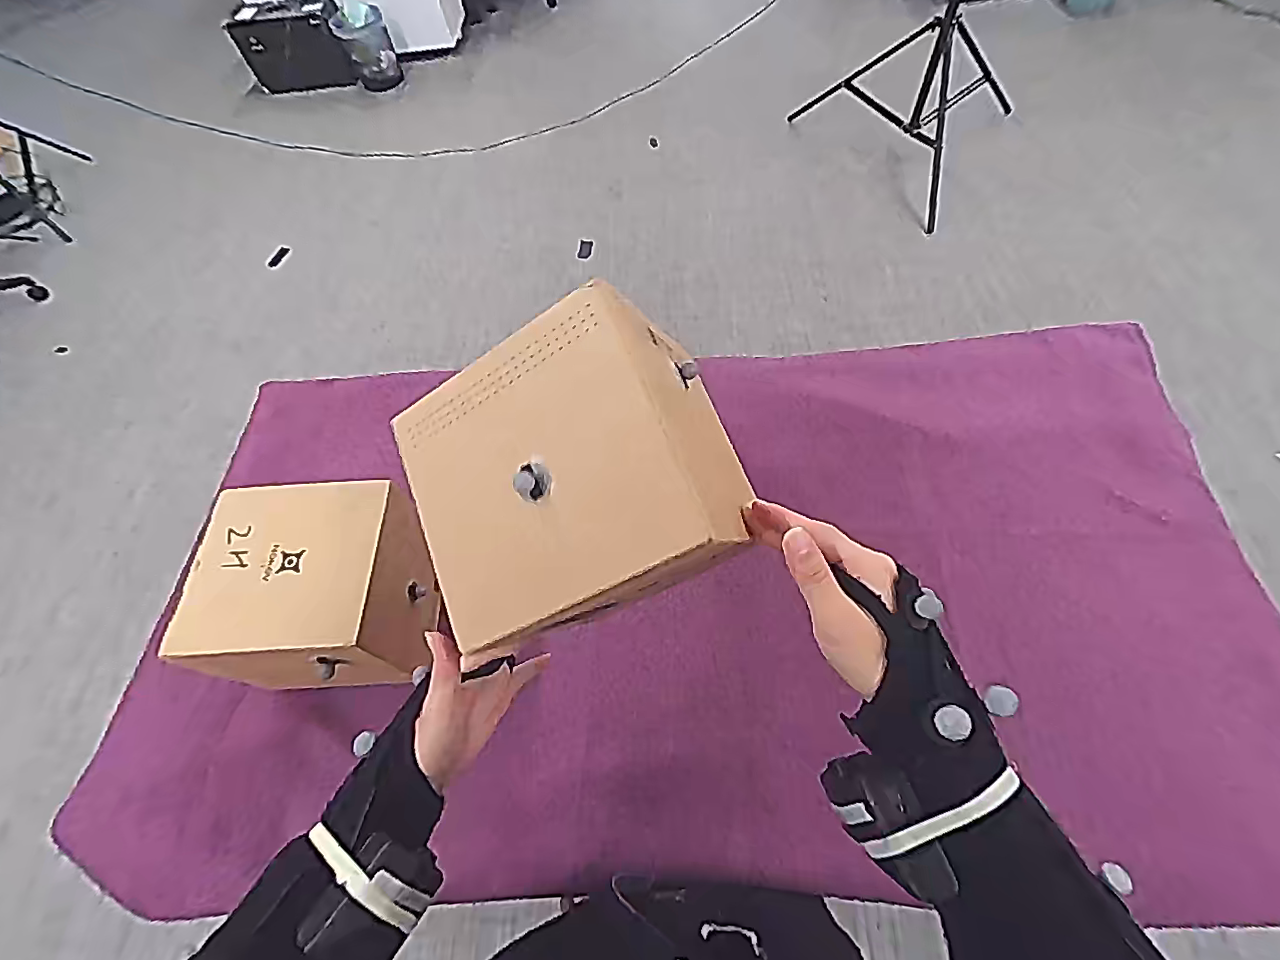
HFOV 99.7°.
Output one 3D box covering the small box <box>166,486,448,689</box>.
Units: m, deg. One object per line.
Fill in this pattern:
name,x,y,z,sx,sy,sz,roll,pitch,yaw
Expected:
small box,-0.322,0.120,0.573,0.179,0.176,0.168,-3,59,1
